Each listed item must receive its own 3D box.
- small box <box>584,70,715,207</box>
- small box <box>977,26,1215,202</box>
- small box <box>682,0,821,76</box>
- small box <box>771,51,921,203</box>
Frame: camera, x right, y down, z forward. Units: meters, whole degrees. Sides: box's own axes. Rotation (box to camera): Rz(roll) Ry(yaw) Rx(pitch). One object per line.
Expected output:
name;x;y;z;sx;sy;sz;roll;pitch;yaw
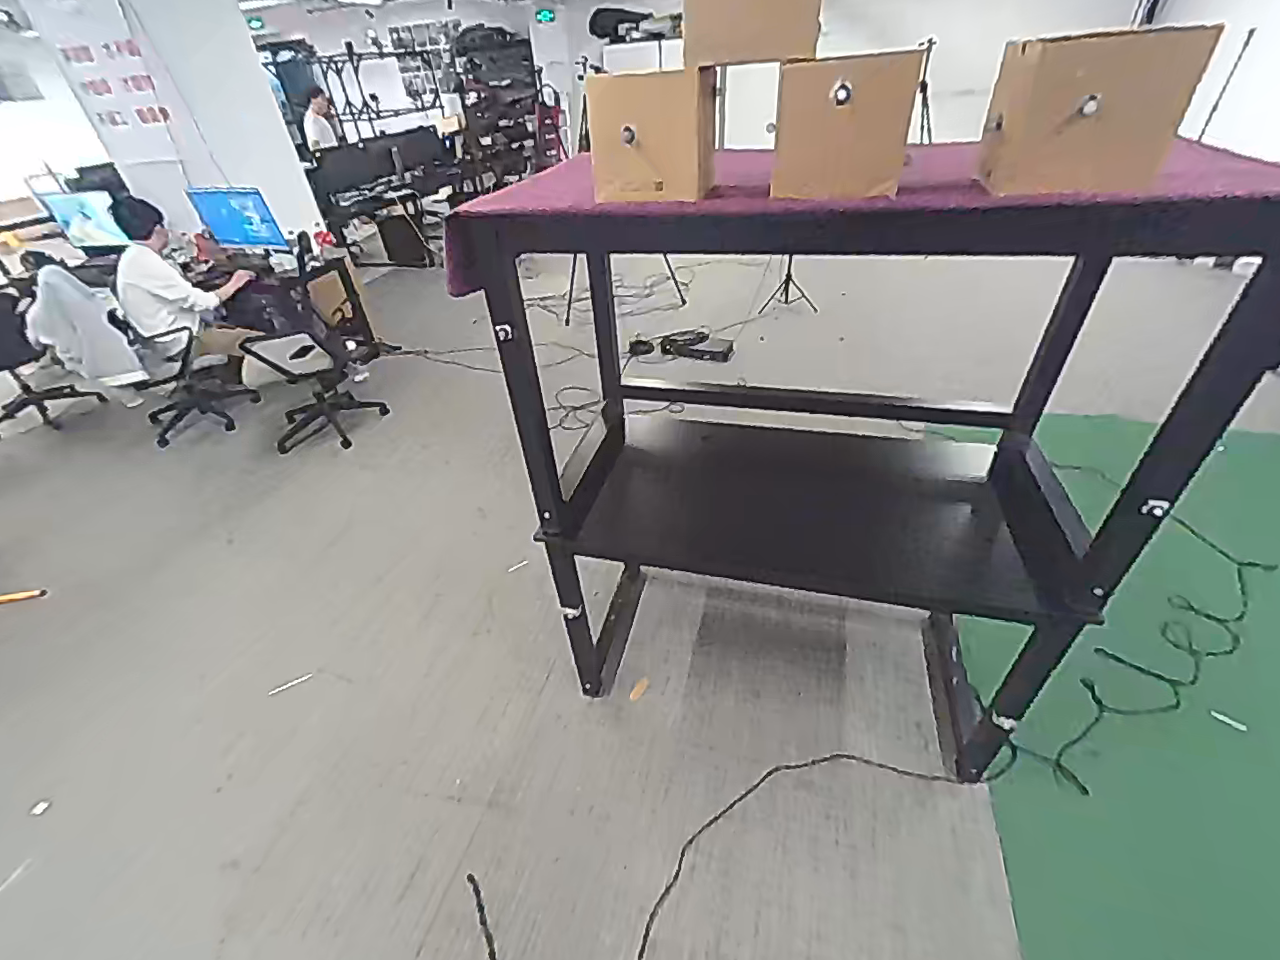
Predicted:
small box;0.026;-0.538;0.857;0.168;0.176;0.179;6;37;14
small box;0.569;-0.475;0.713;0.179;0.176;0.168;5;39;15
small box;0.156;-0.660;0.730;0.179;0.176;0.168;5;37;14
small box;0.290;-0.510;0.790;0.179;0.176;0.168;7;38;15
